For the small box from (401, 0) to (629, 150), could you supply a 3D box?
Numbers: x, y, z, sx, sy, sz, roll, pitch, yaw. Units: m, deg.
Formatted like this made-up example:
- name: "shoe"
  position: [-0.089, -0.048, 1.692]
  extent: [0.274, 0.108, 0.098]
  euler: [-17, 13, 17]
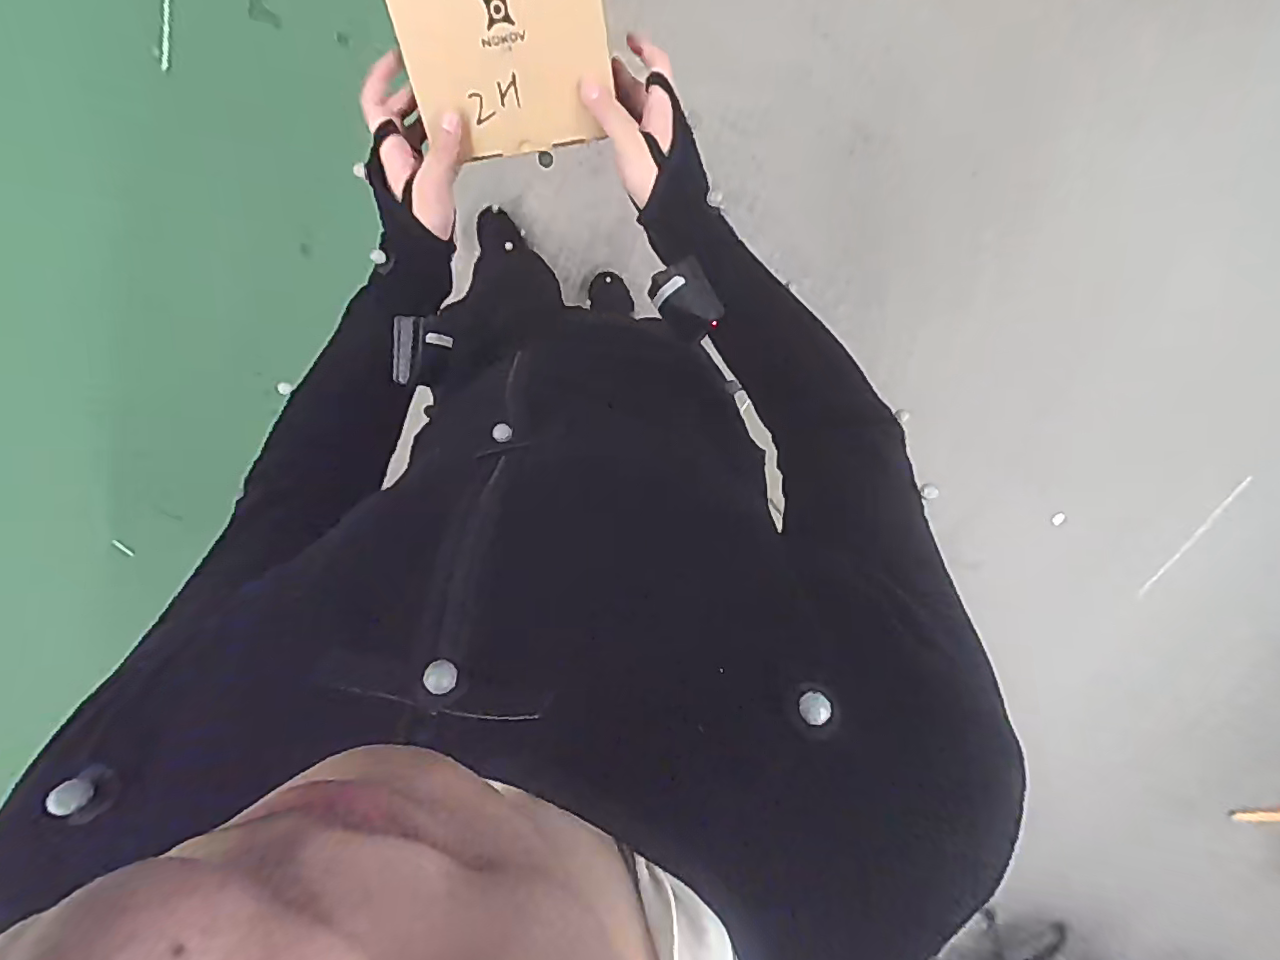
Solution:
- name: "small box"
  position: [-0.102, -0.406, 0.483]
  extent: [0.168, 0.176, 0.179]
  euler: [-6, 123, 3]
